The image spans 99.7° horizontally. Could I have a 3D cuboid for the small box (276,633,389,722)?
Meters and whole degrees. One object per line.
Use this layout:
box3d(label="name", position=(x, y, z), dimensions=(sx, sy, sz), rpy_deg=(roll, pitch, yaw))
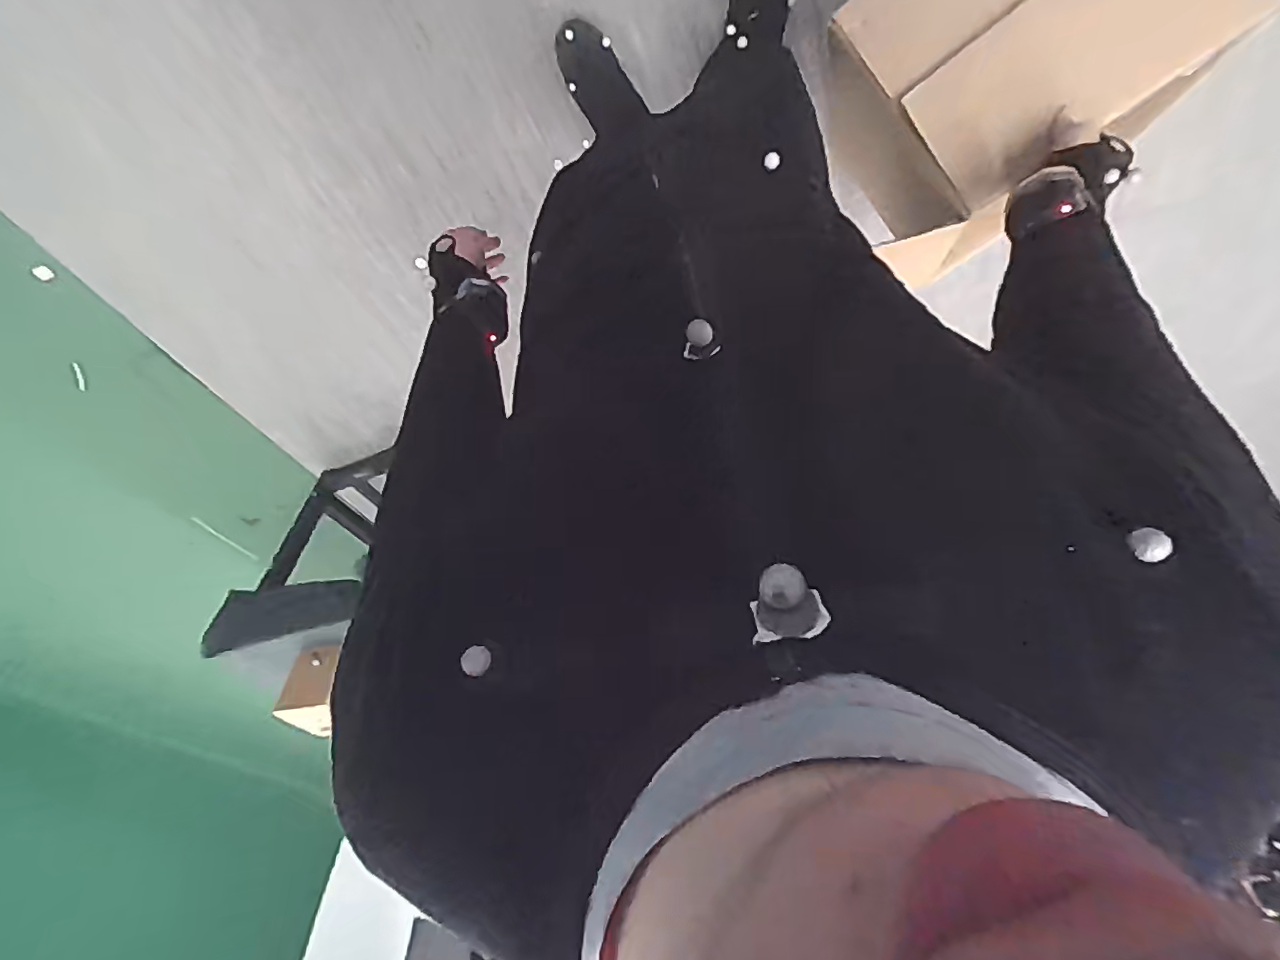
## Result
box3d(label="small box", position=(-0.809, 0.529, 1.447), dimensions=(0.168, 0.176, 0.179), rpy_deg=(-11, 135, 13))
